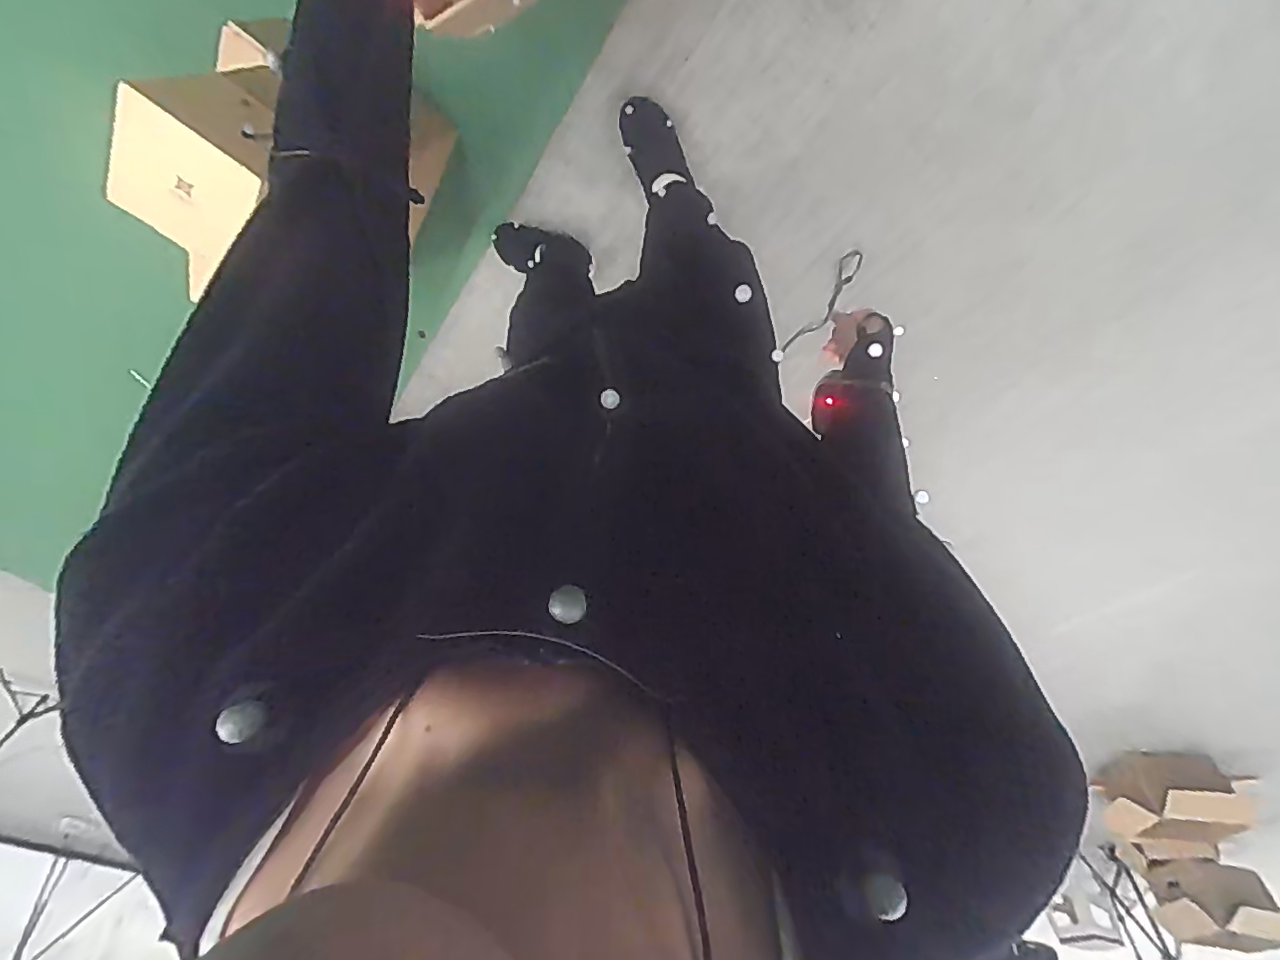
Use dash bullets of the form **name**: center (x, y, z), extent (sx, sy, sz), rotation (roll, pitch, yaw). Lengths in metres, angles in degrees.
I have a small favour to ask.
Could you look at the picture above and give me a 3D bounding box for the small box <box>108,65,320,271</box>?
- **small box**: center (-0.594, -0.446, 0.772), extent (0.168, 0.176, 0.179), rotation (34, 128, -23)
